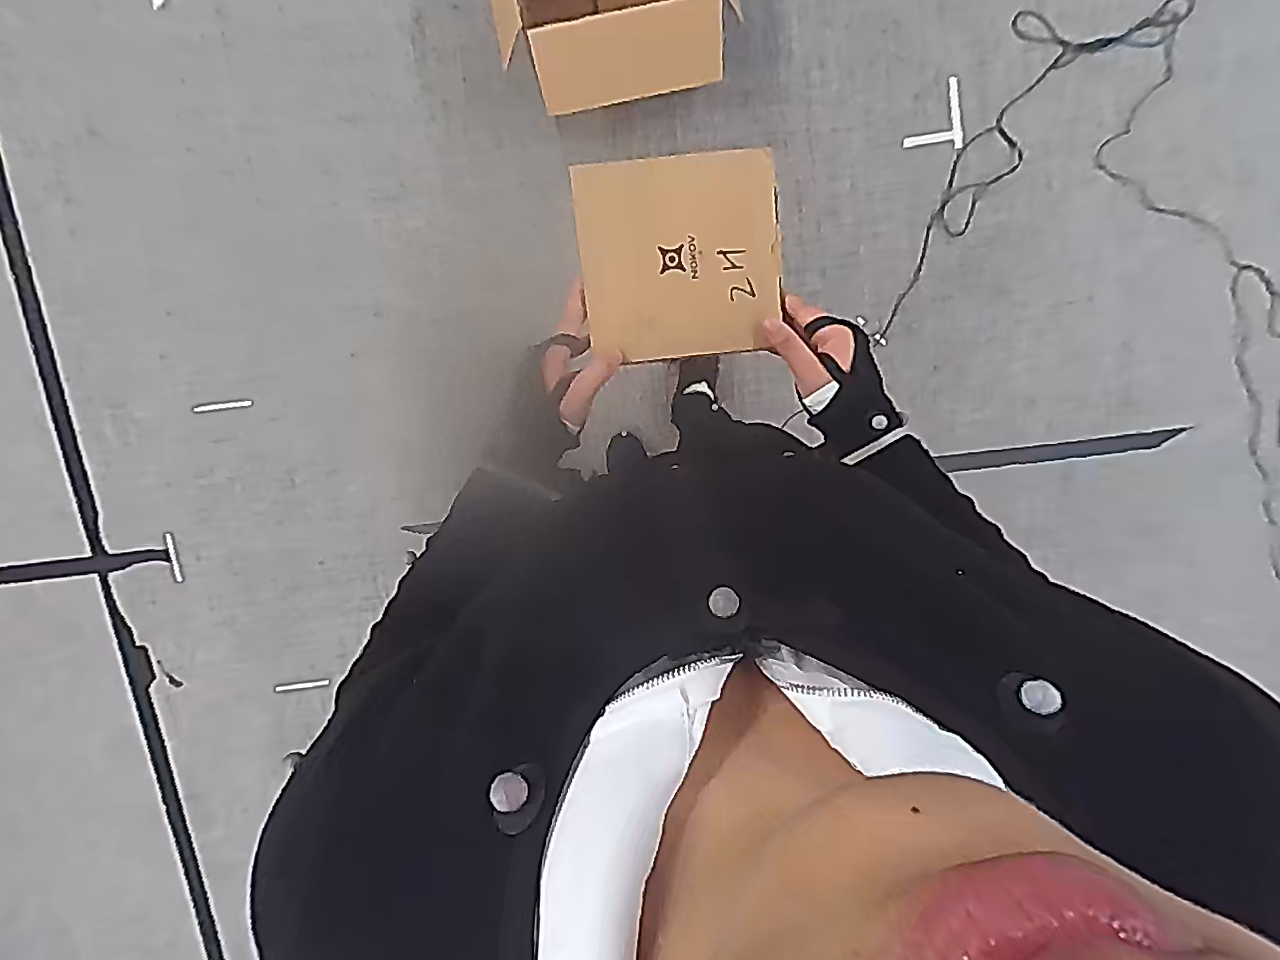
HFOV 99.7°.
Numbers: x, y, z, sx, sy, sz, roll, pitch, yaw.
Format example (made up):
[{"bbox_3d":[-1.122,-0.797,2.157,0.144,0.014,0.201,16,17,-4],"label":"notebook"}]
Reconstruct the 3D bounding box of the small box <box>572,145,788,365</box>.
[{"bbox_3d":[0.034,-0.205,0.538,0.179,0.176,0.168,-6,102,-2],"label":"small box"}]
